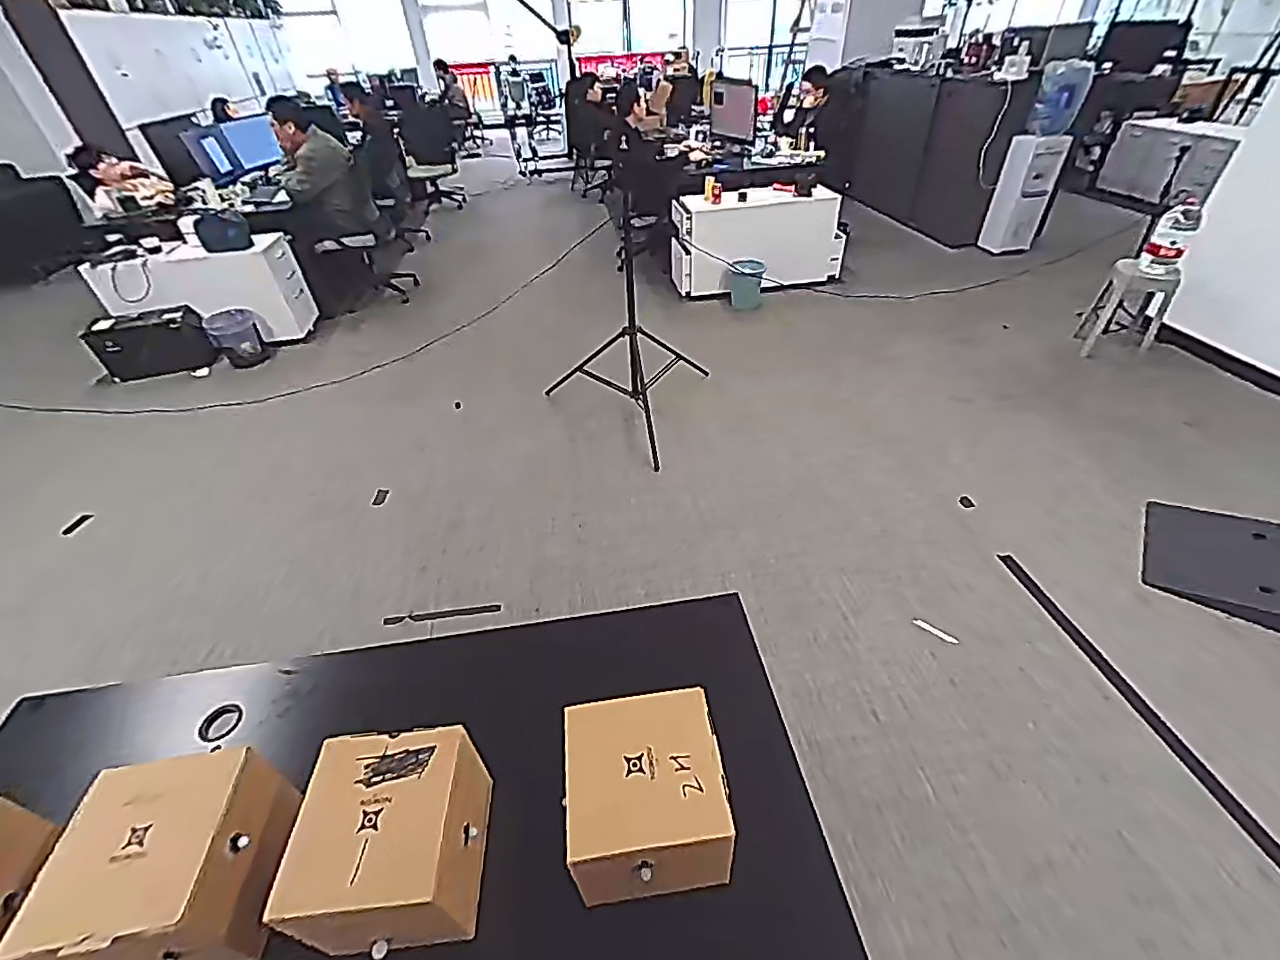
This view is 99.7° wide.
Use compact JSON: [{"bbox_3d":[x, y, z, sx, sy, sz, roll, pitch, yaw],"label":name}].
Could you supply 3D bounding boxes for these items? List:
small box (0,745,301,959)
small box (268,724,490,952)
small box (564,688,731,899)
[{"bbox_3d":[-0.530,0.443,0.625,0.168,0.176,0.179,-7,39,-6],"label":"small box"},{"bbox_3d":[-0.282,0.418,0.637,0.168,0.176,0.179,-5,40,-2],"label":"small box"},{"bbox_3d":[0.006,0.382,0.661,0.179,0.176,0.168,-6,40,-4],"label":"small box"}]
